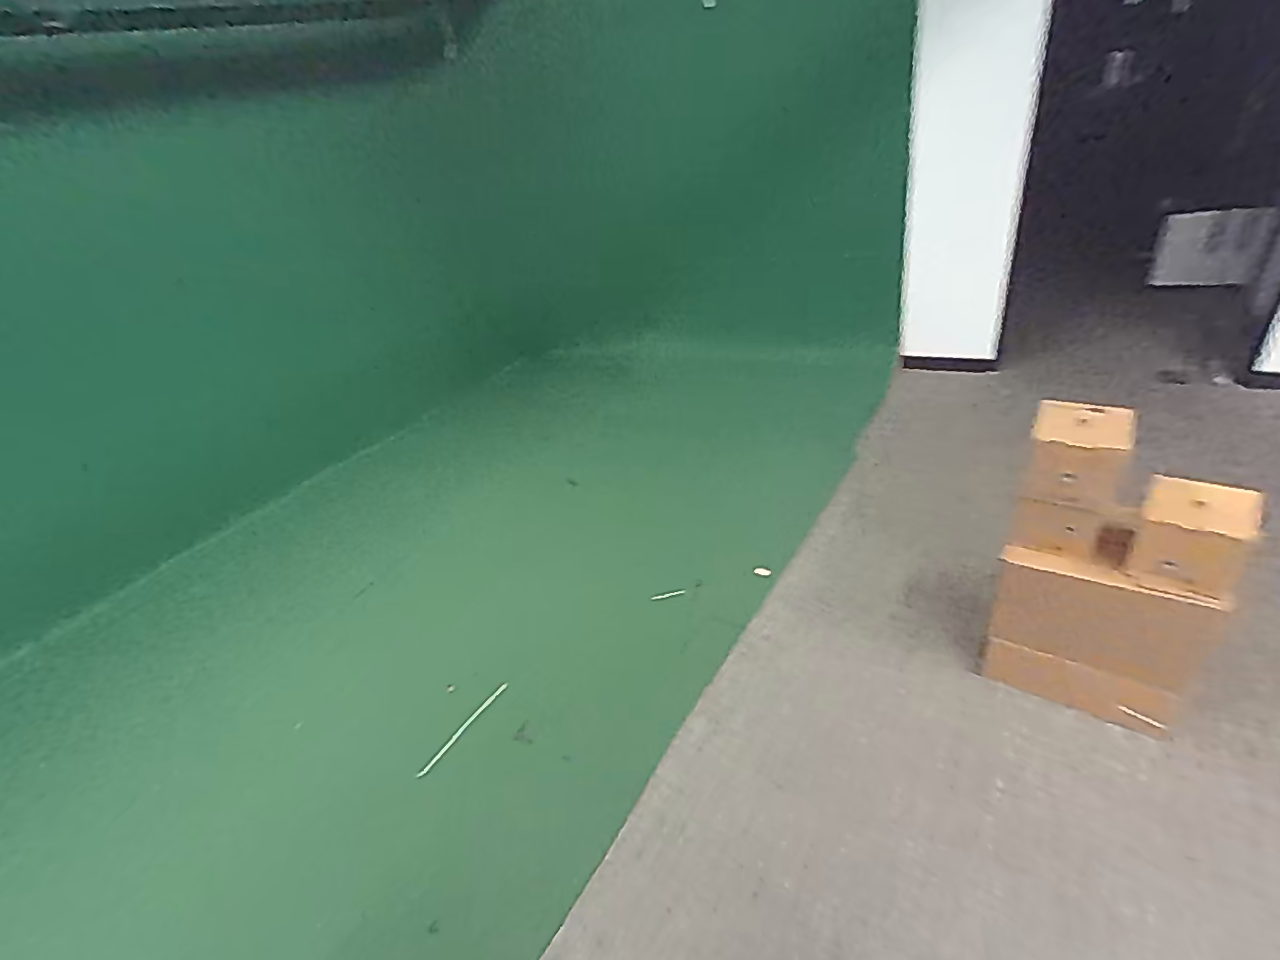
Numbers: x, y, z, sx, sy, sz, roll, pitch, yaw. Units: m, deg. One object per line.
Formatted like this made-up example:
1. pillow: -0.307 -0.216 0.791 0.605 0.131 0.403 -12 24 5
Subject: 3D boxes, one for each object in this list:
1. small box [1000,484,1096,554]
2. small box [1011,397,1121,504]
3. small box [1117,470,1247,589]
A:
1. small box: 1.016 0.056 1.343 0.168 0.176 0.179 16 45 35
2. small box: 0.974 -0.068 1.244 0.168 0.176 0.179 15 45 34
3. small box: 1.191 0.106 1.196 0.168 0.176 0.179 17 45 41
